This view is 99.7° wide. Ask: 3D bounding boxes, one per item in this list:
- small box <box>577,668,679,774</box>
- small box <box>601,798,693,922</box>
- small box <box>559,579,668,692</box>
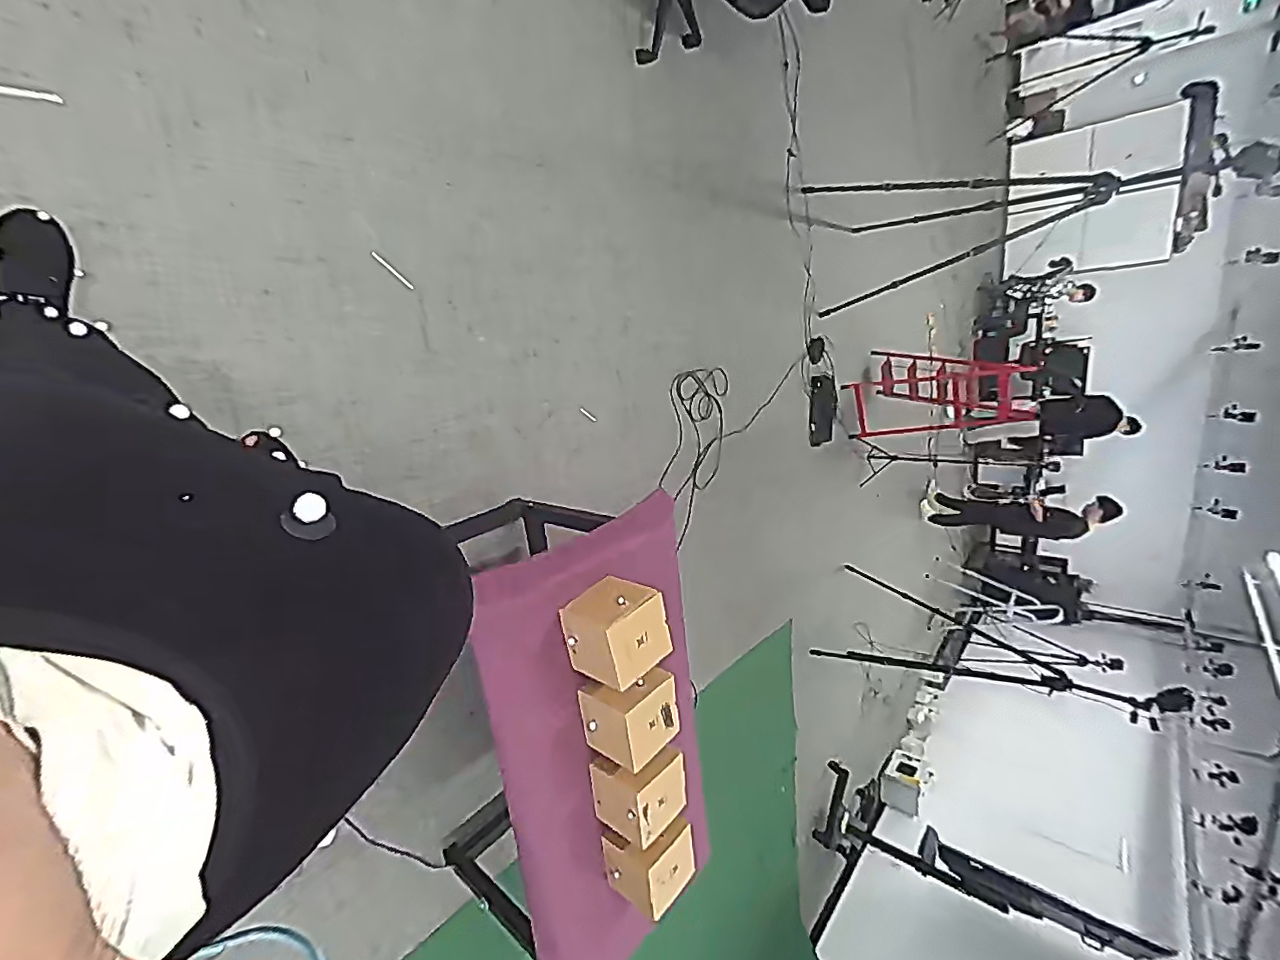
[{"bbox_3d":[-0.029,0.568,1.329,0.179,0.176,0.168,-22,111,-43],"label":"small box"},{"bbox_3d":[0.018,0.998,1.440,0.179,0.176,0.168,-20,109,-44],"label":"small box"},{"bbox_3d":[-0.061,0.352,1.263,0.179,0.176,0.168,-28,115,-41],"label":"small box"}]
